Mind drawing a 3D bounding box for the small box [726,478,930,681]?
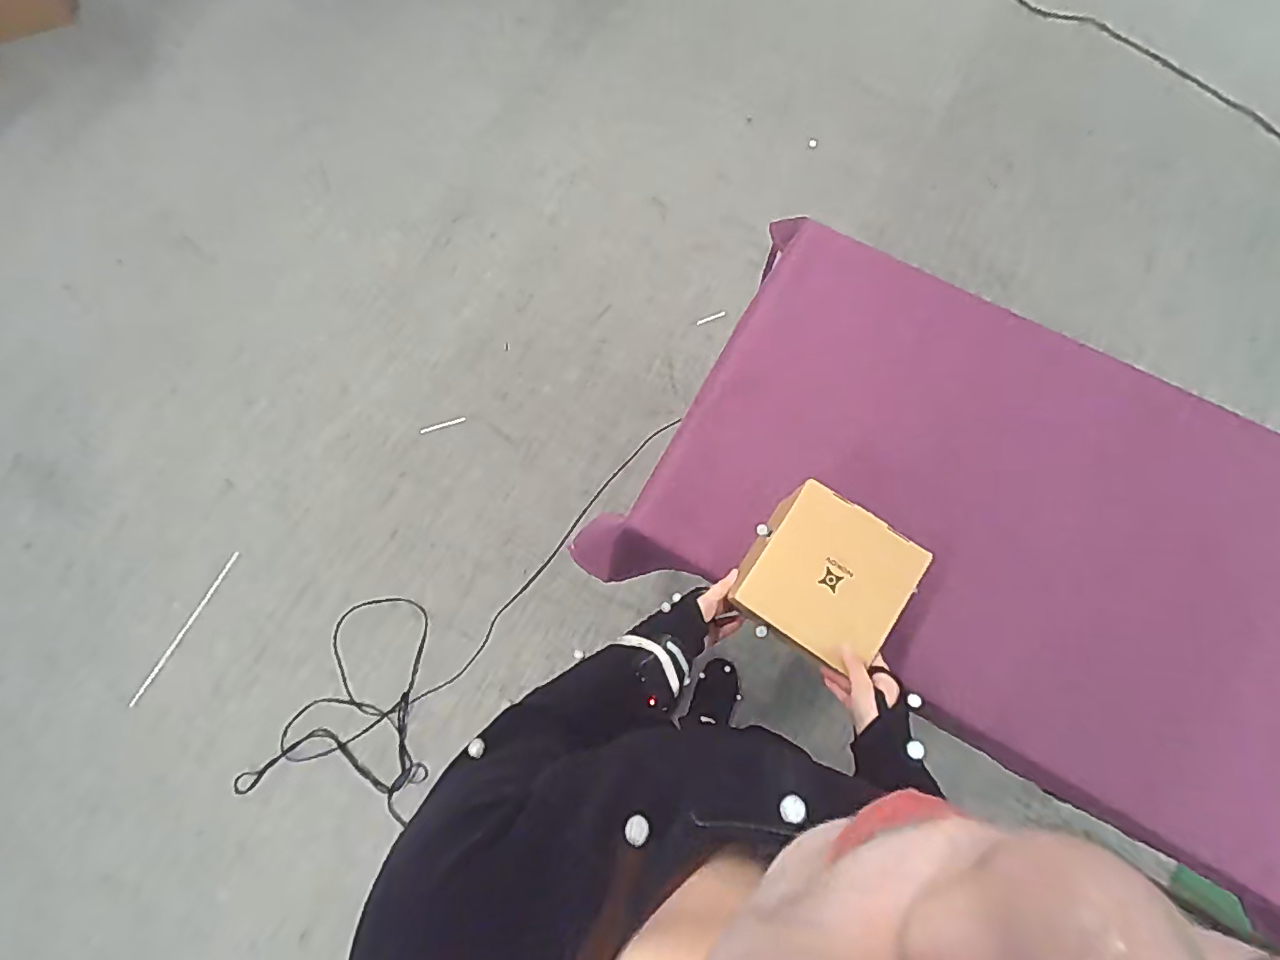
[{"bbox_3d":[0.224,0.129,0.696,0.168,0.176,0.179,34,79,10],"label":"small box"}]
